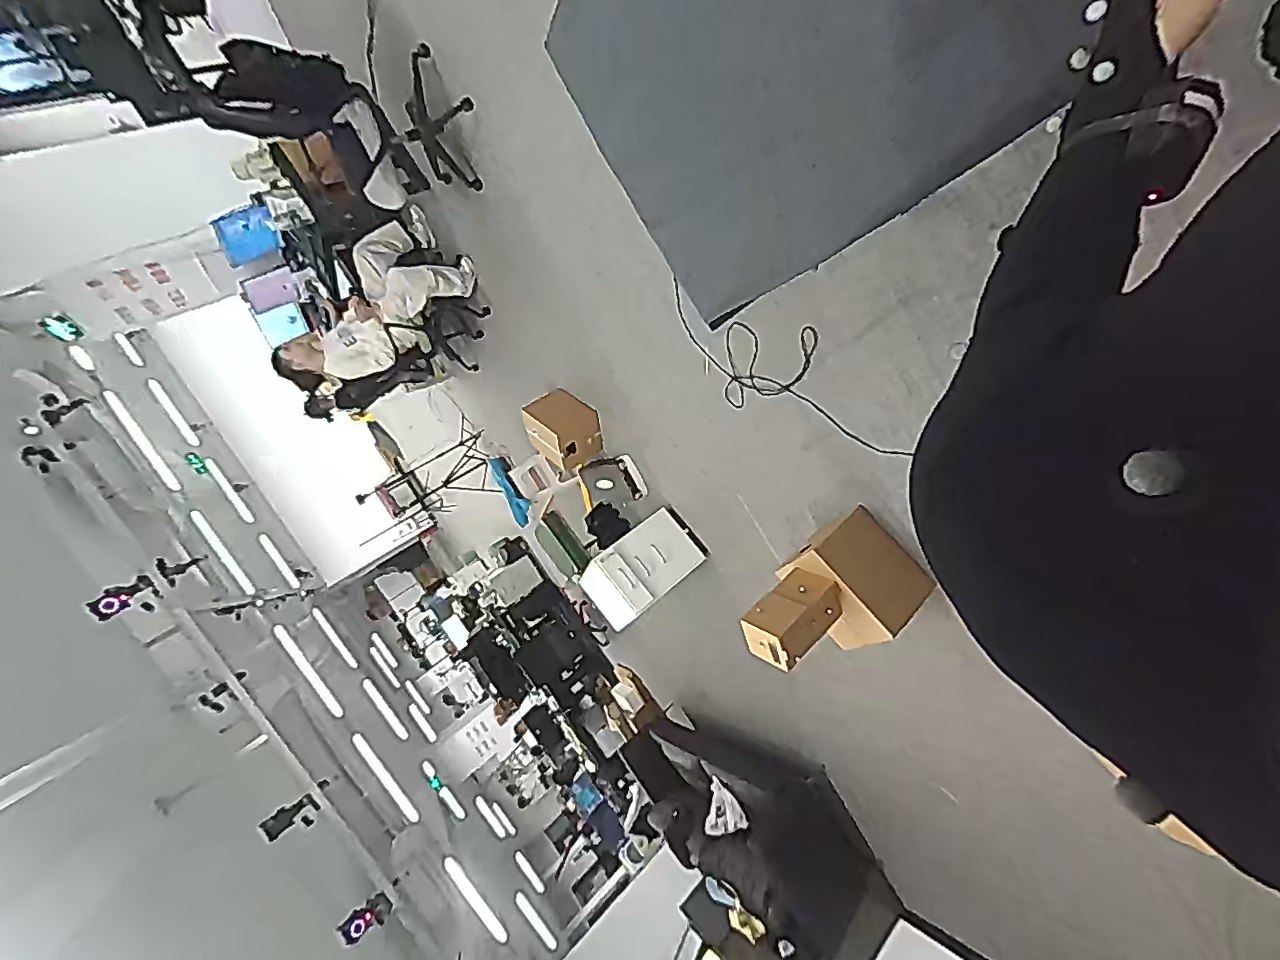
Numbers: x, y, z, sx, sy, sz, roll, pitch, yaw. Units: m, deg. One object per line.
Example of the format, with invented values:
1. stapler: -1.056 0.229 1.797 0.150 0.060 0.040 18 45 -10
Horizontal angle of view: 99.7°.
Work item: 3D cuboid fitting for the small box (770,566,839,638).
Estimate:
1. small box: 0.614 0.442 1.994 0.179 0.176 0.168 14 132 50
